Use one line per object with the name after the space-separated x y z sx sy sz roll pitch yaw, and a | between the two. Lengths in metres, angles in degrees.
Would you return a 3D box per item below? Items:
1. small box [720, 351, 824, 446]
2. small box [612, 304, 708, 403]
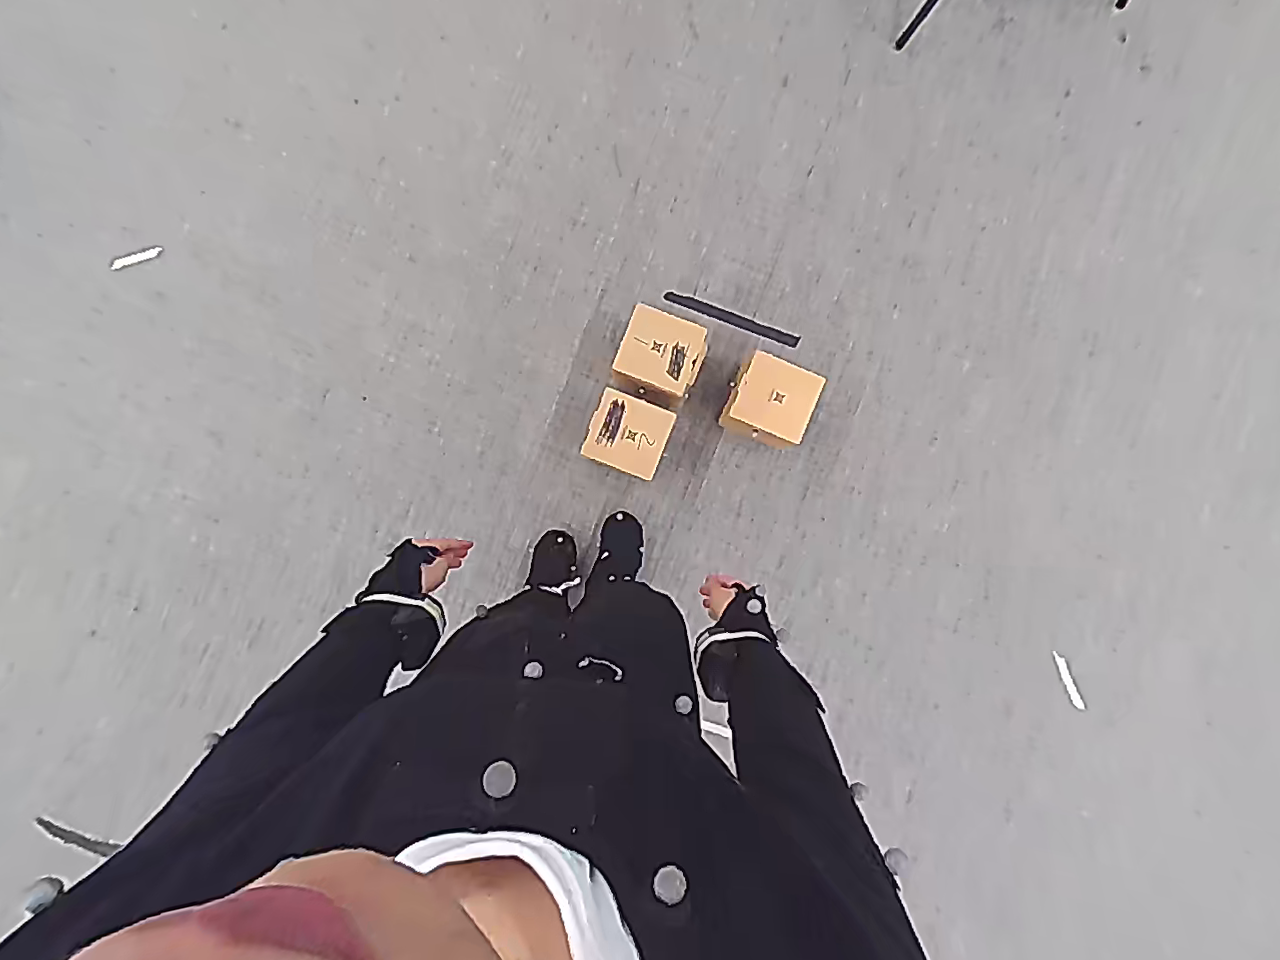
0.310 -0.188 1.308 0.179 0.176 0.168 23 89 1 | small box
0.047 -0.295 1.308 0.179 0.176 0.168 22 89 1 | small box
